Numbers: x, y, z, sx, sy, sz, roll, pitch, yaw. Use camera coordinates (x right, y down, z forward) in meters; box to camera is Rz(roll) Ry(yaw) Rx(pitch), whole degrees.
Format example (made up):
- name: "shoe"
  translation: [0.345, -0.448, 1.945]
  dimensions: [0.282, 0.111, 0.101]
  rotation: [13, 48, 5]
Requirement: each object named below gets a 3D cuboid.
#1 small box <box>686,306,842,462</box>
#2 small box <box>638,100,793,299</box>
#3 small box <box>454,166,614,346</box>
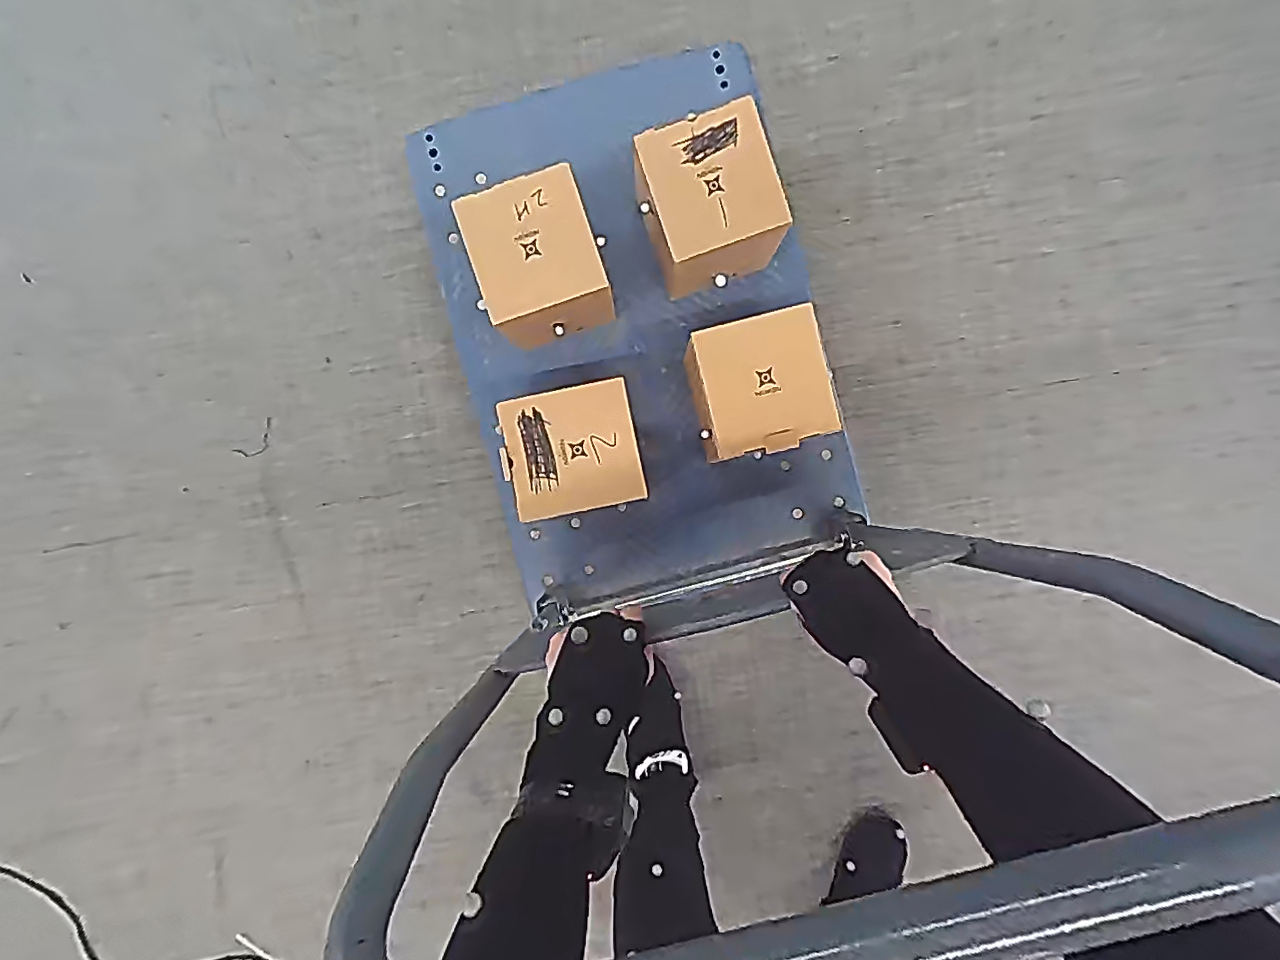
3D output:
- name: "small box"
  translation: [0.168, -0.128, 0.788]
  dimensions: [0.168, 0.176, 0.179]
  rotation: [-14, 91, 1]
- name: "small box"
  translation: [0.099, -0.390, 0.783]
  dimensions: [0.168, 0.176, 0.179]
  rotation: [-18, 92, 2]
- name: "small box"
  translation: [-0.141, -0.308, 0.789]
  dimensions: [0.168, 0.176, 0.179]
  rotation: [-18, 91, 1]
